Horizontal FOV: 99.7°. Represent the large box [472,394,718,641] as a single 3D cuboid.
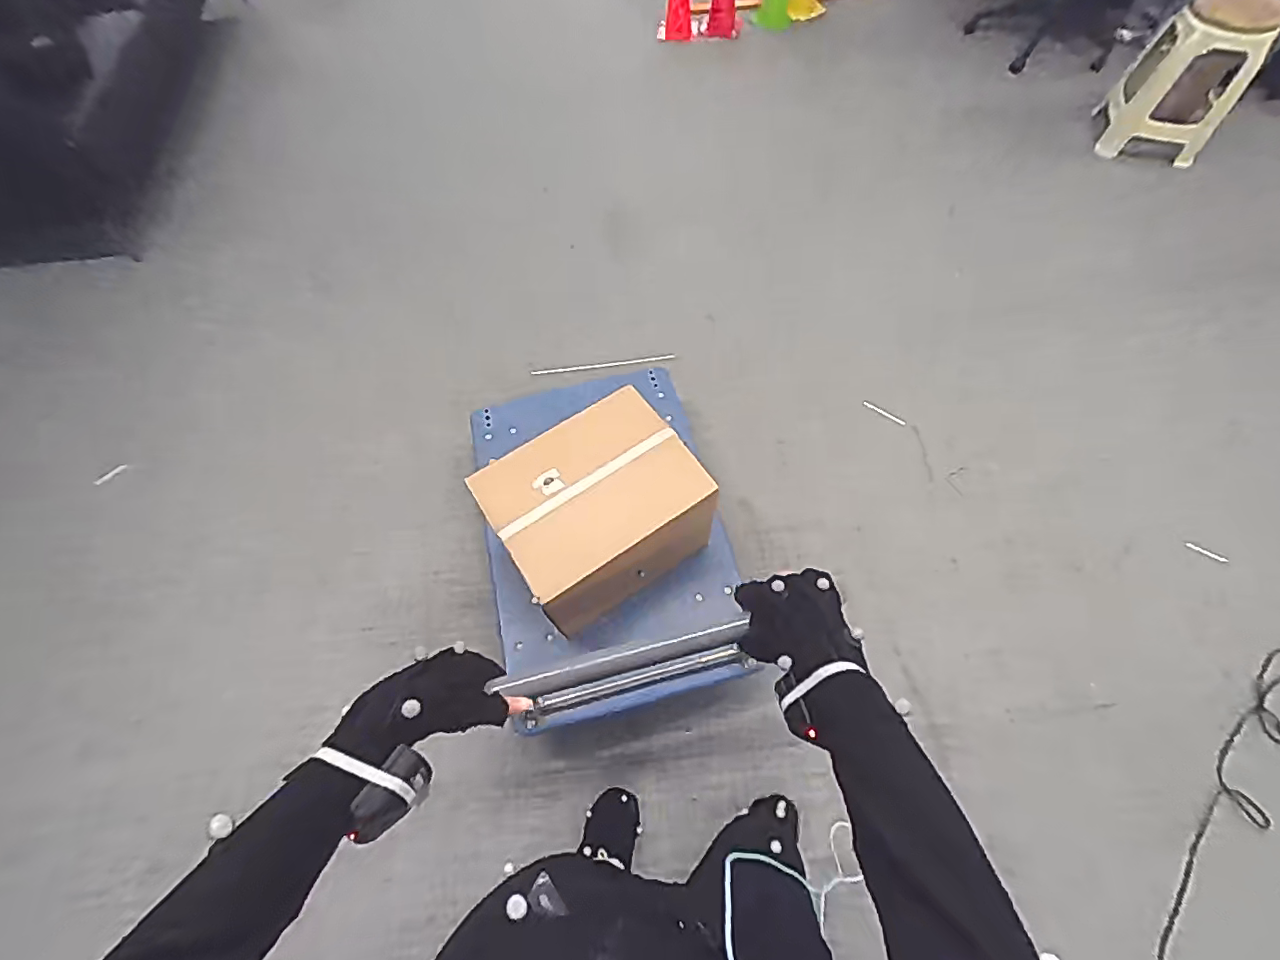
[{"bbox_3d":[-0.083,0.092,1.199,0.408,0.320,0.320,-33,65,-13],"label":"large box"}]
